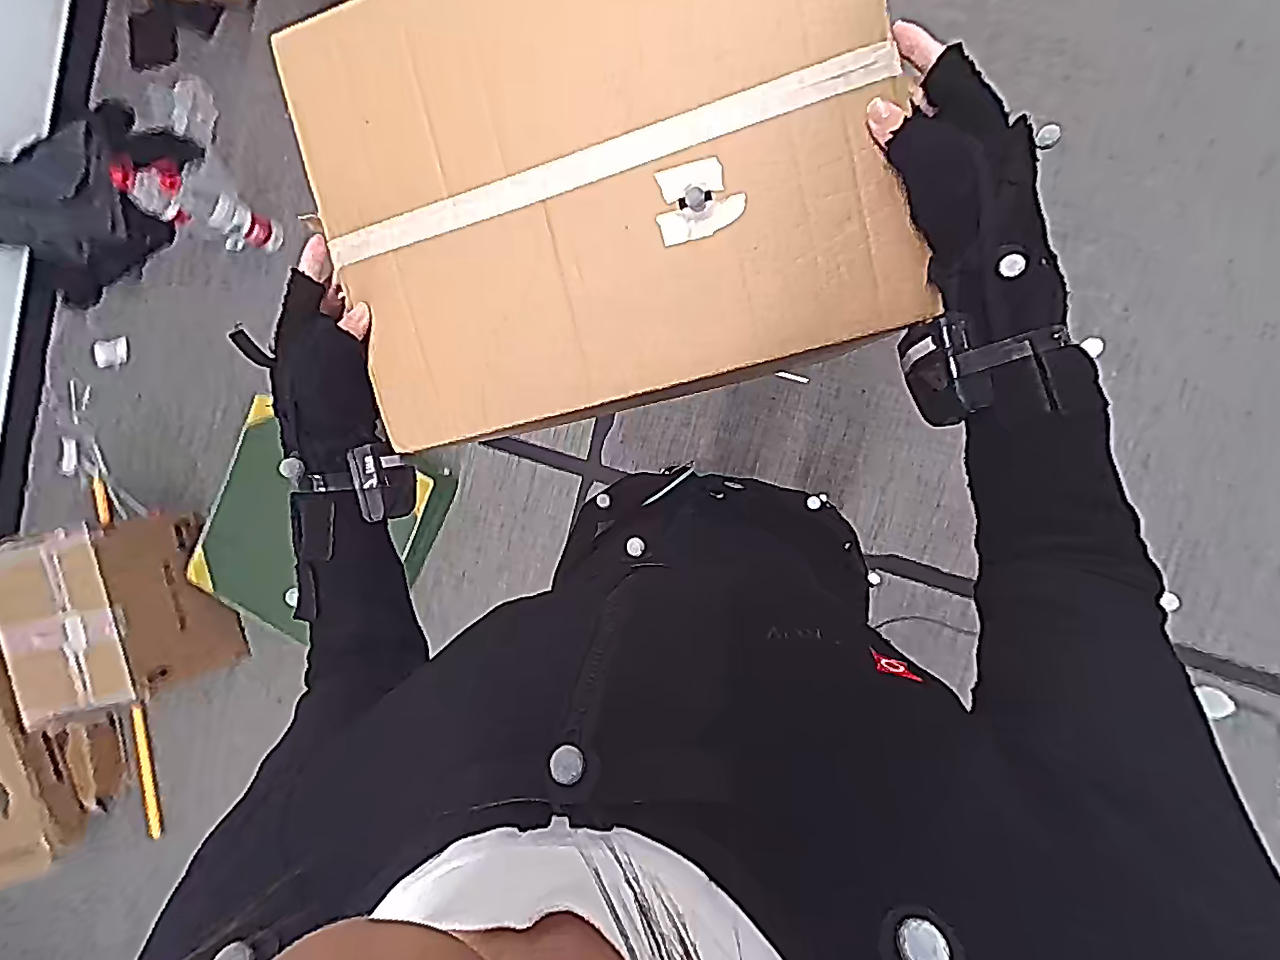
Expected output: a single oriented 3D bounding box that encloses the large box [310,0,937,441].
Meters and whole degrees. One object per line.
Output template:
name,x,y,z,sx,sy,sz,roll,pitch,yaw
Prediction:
large box,-0.003,-0.241,0.528,0.408,0.320,0.320,-12,97,10
